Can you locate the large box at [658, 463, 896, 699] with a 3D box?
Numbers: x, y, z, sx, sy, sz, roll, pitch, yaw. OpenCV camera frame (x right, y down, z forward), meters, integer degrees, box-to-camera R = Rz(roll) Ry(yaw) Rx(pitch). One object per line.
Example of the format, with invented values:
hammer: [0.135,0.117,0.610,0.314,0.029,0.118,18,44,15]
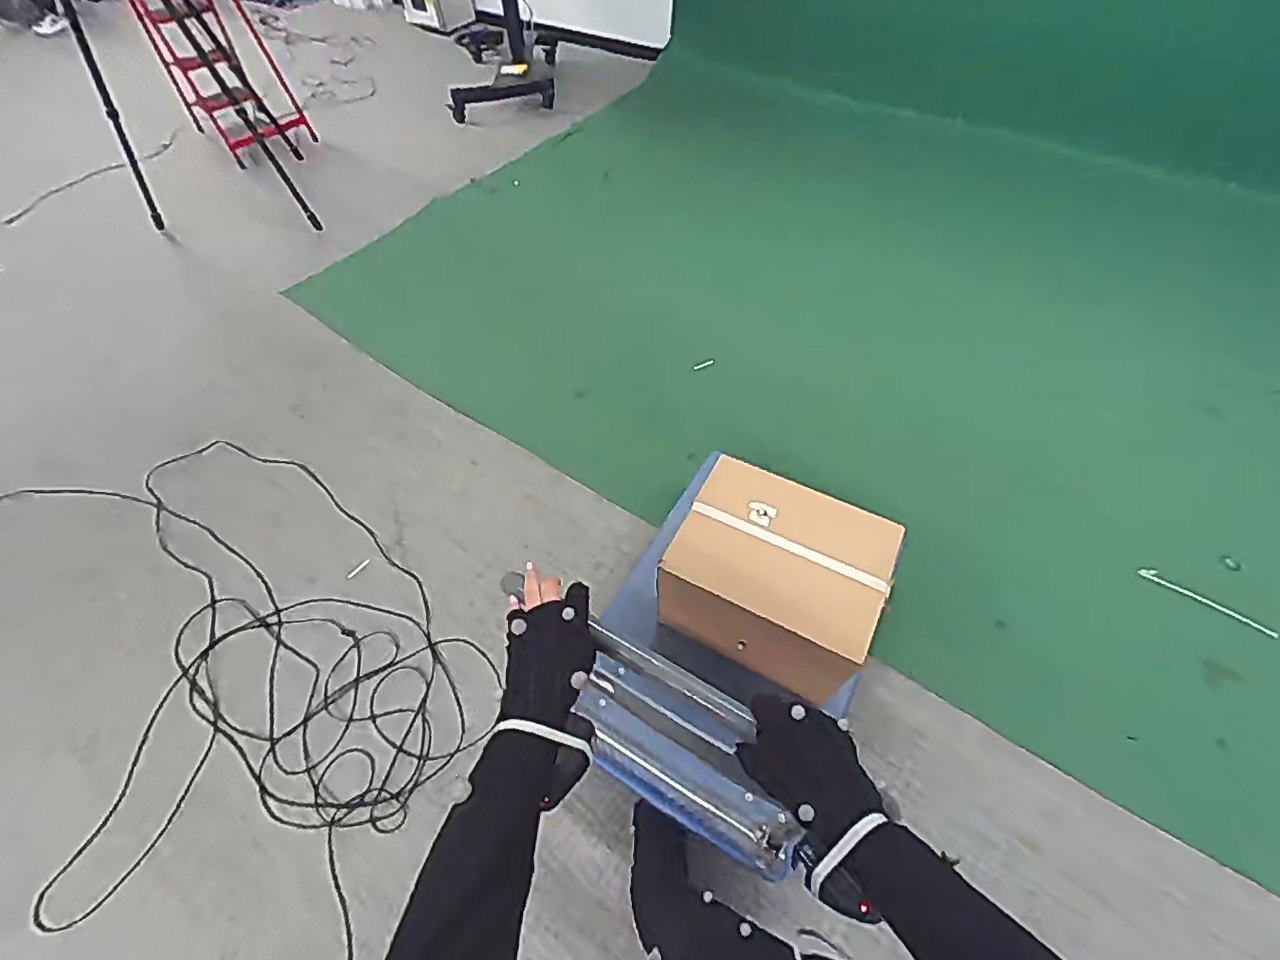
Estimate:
large box: [0.287,0.226,1.205,0.408,0.320,0.320,23,58,18]
